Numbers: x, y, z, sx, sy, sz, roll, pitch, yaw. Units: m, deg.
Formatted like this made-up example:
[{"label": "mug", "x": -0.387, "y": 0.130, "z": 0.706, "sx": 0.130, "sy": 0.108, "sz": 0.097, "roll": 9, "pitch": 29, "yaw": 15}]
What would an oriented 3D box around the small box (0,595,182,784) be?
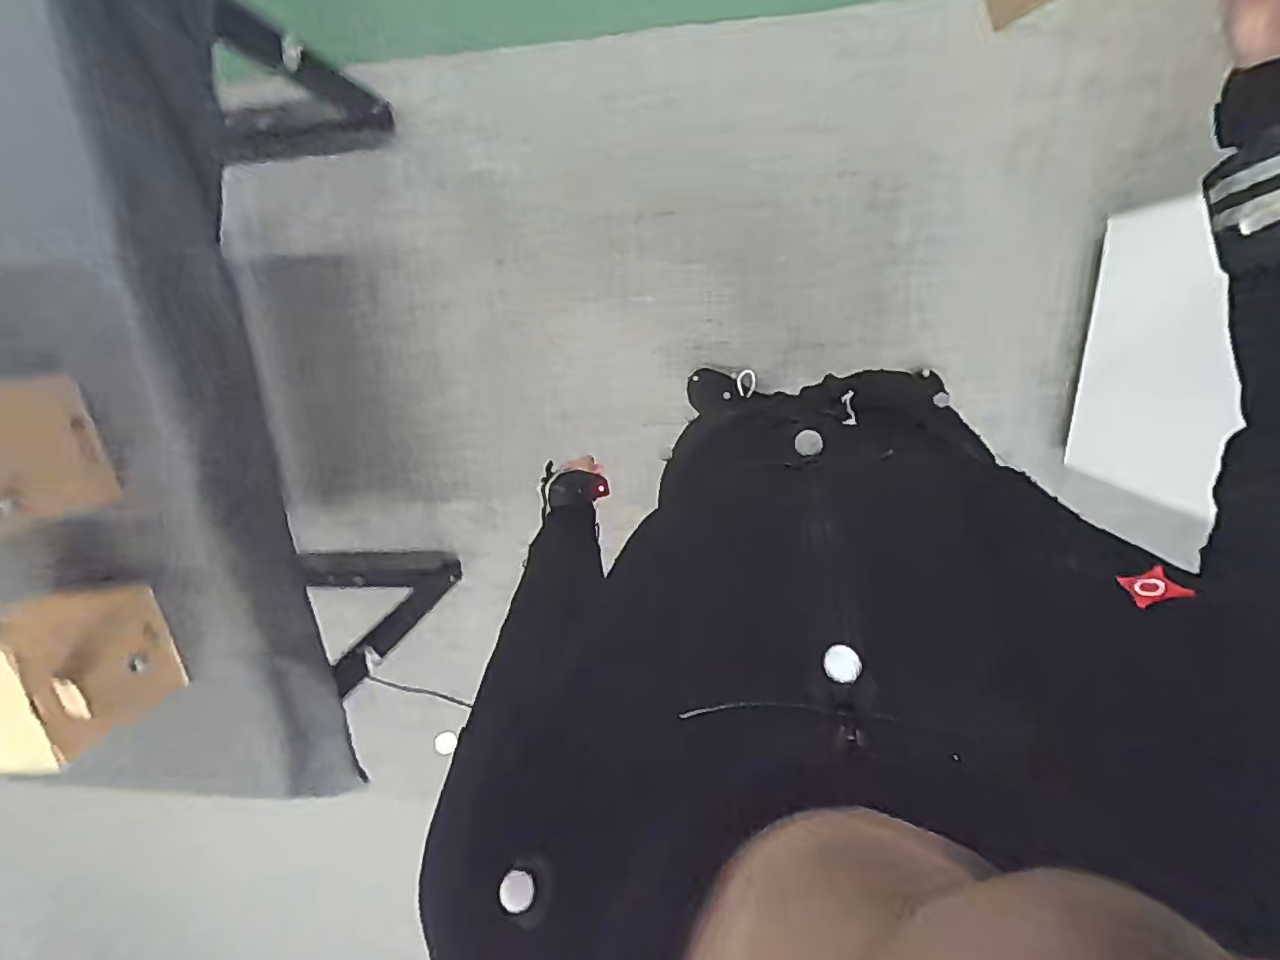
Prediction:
[{"label": "small box", "x": -0.766, "y": 0.264, "z": 0.705, "sx": 0.179, "sy": 0.176, "sz": 0.168, "roll": -7, "pitch": 104, "yaw": 8}]
